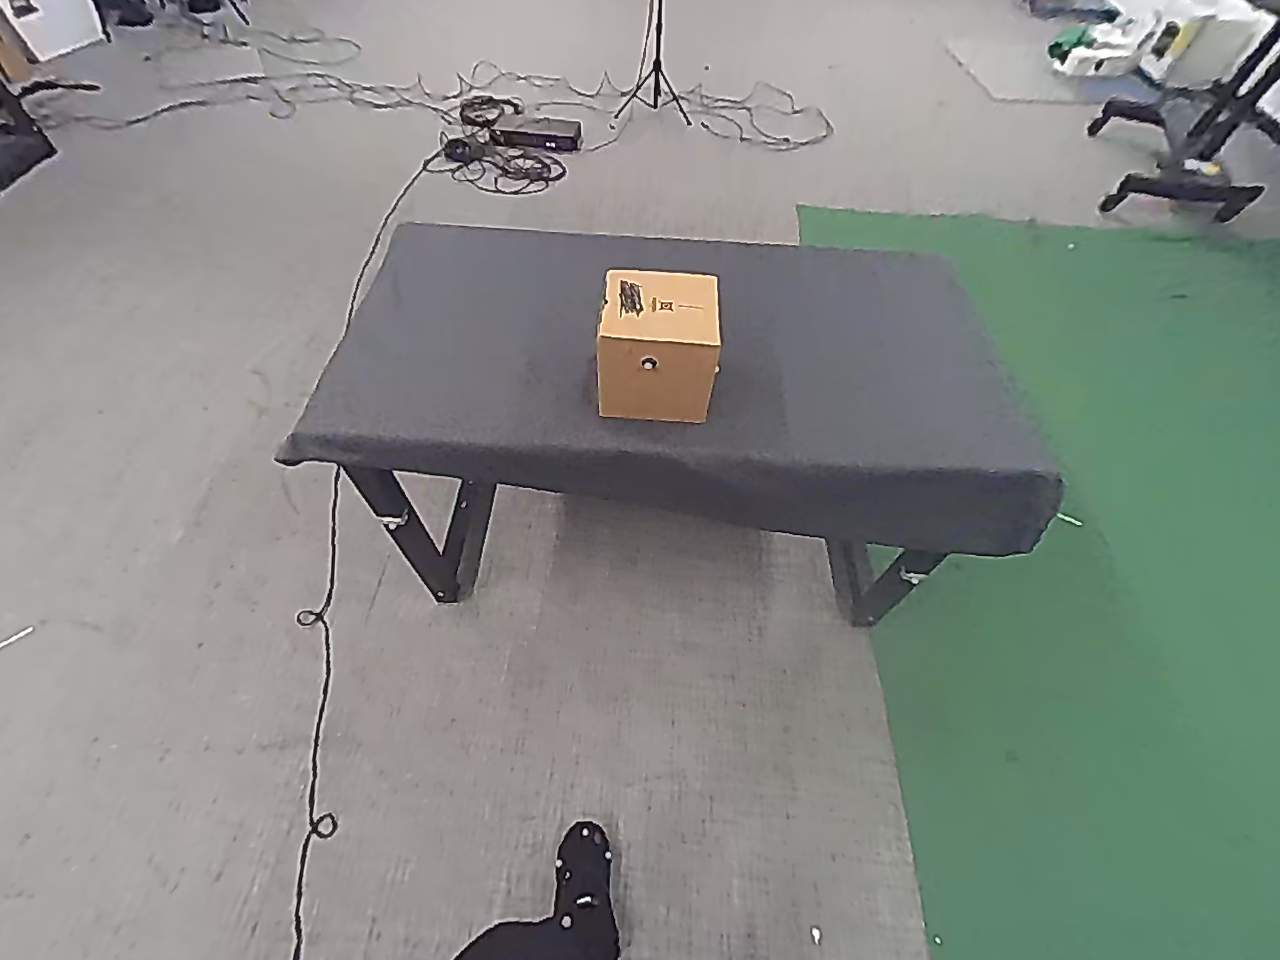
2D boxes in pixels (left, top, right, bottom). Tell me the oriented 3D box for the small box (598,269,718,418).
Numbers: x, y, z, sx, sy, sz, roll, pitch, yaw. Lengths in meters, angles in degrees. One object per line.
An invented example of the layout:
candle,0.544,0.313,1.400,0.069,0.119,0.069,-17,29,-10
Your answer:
small box,0.027,-0.217,0.879,0.179,0.176,0.168,4,55,0
